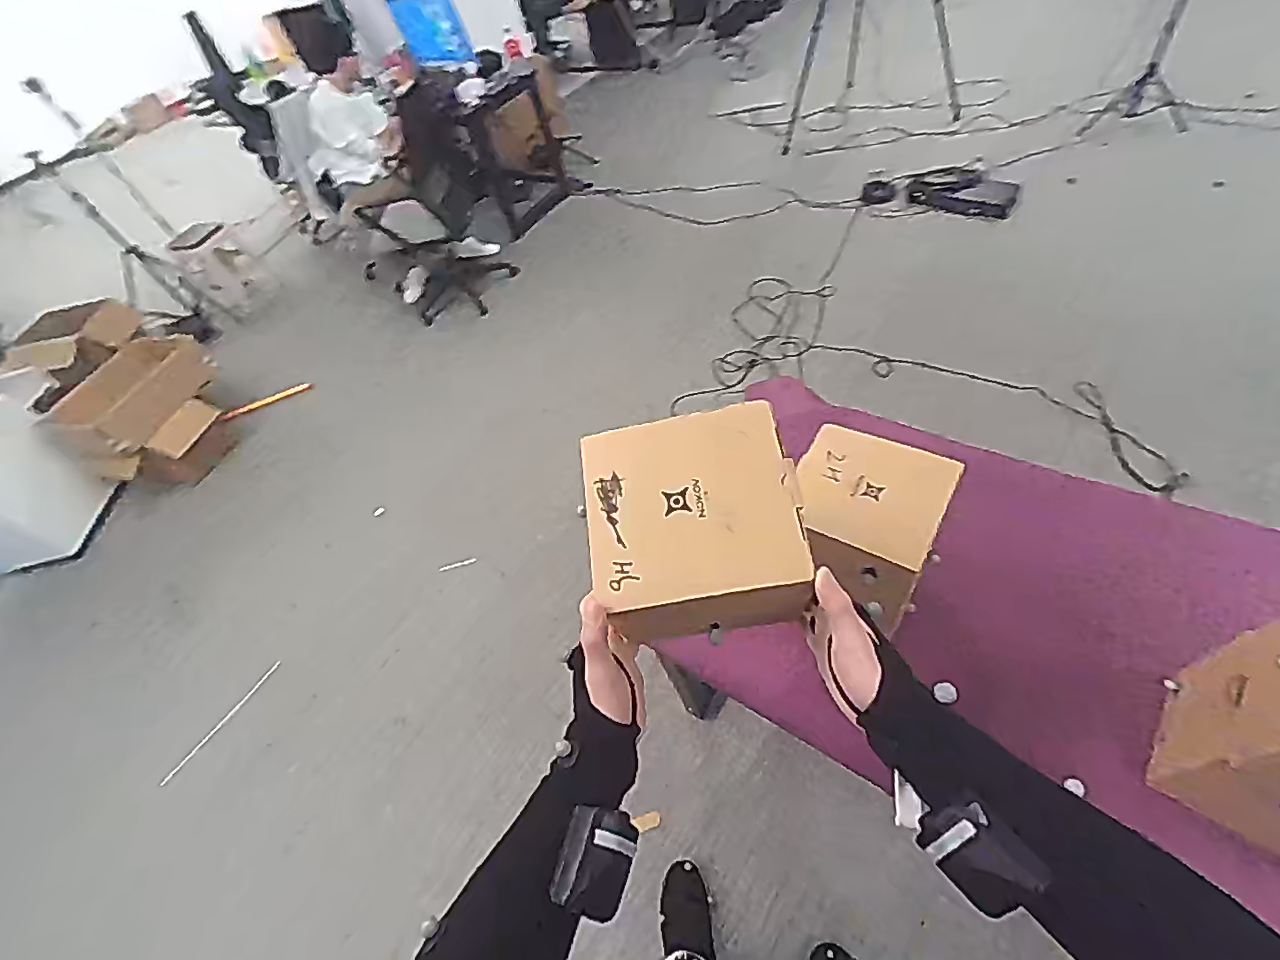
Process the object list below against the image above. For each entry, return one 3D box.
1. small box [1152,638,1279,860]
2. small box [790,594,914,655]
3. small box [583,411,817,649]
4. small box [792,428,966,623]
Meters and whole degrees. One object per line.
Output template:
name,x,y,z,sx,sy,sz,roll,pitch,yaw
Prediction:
small box,0.737,0.318,0.610,0.179,0.176,0.168,26,63,30
small box,0.334,0.153,0.851,0.179,0.176,0.168,21,61,29
small box,0.053,0.058,0.521,0.179,0.176,0.168,-10,62,5
small box,0.293,0.066,0.716,0.179,0.176,0.168,23,62,29
